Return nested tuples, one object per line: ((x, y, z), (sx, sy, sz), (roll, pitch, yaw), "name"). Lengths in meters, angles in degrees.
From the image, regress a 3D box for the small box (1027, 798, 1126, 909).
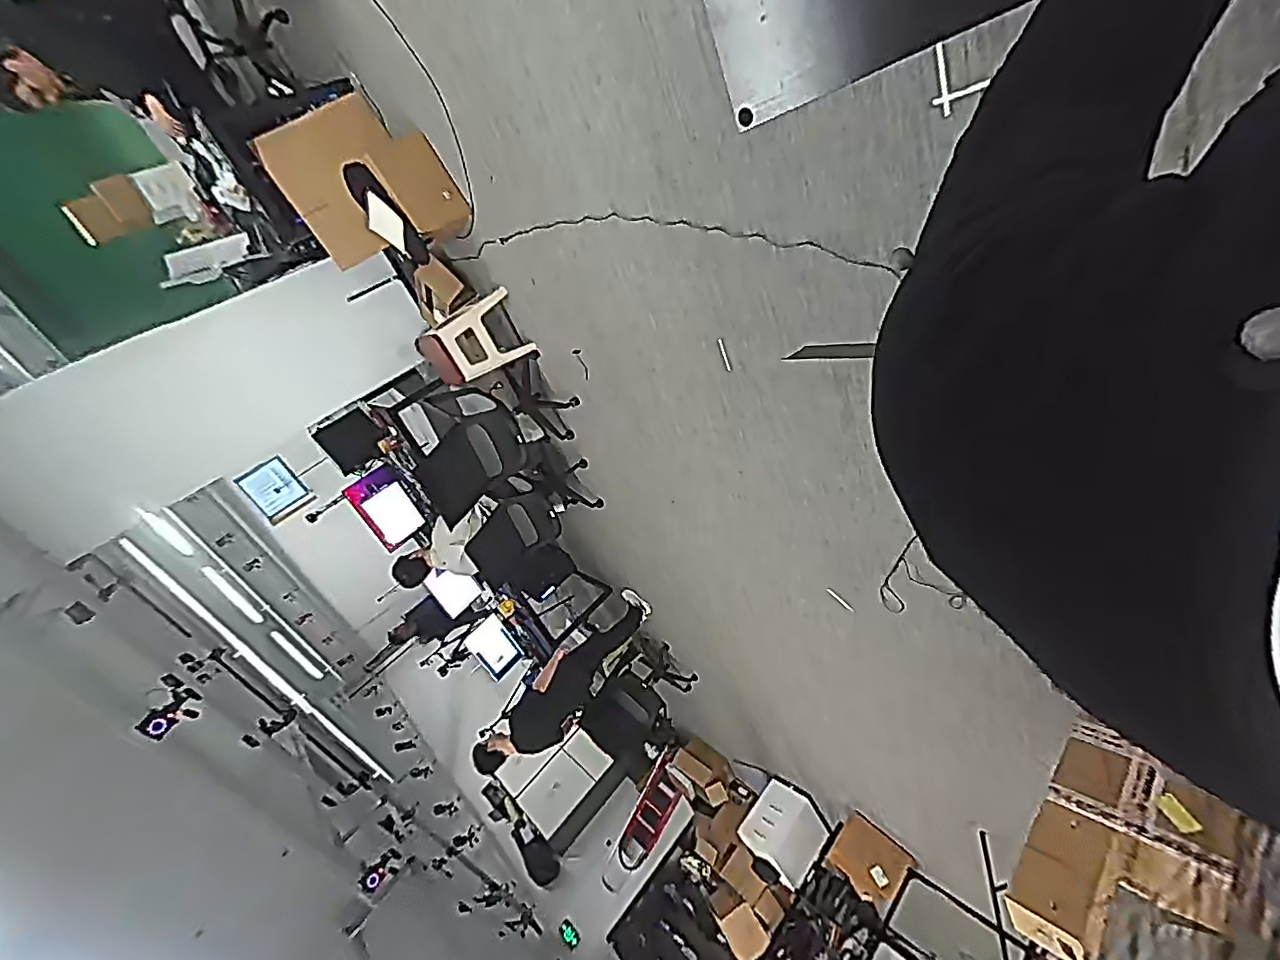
((1.267, 1.068, 1.568), (0.179, 0.176, 0.168), (4, 126, 55), "small box")

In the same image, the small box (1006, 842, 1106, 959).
((1.150, 1.154, 1.487), (0.179, 0.176, 0.168), (4, 126, 55), "small box")
